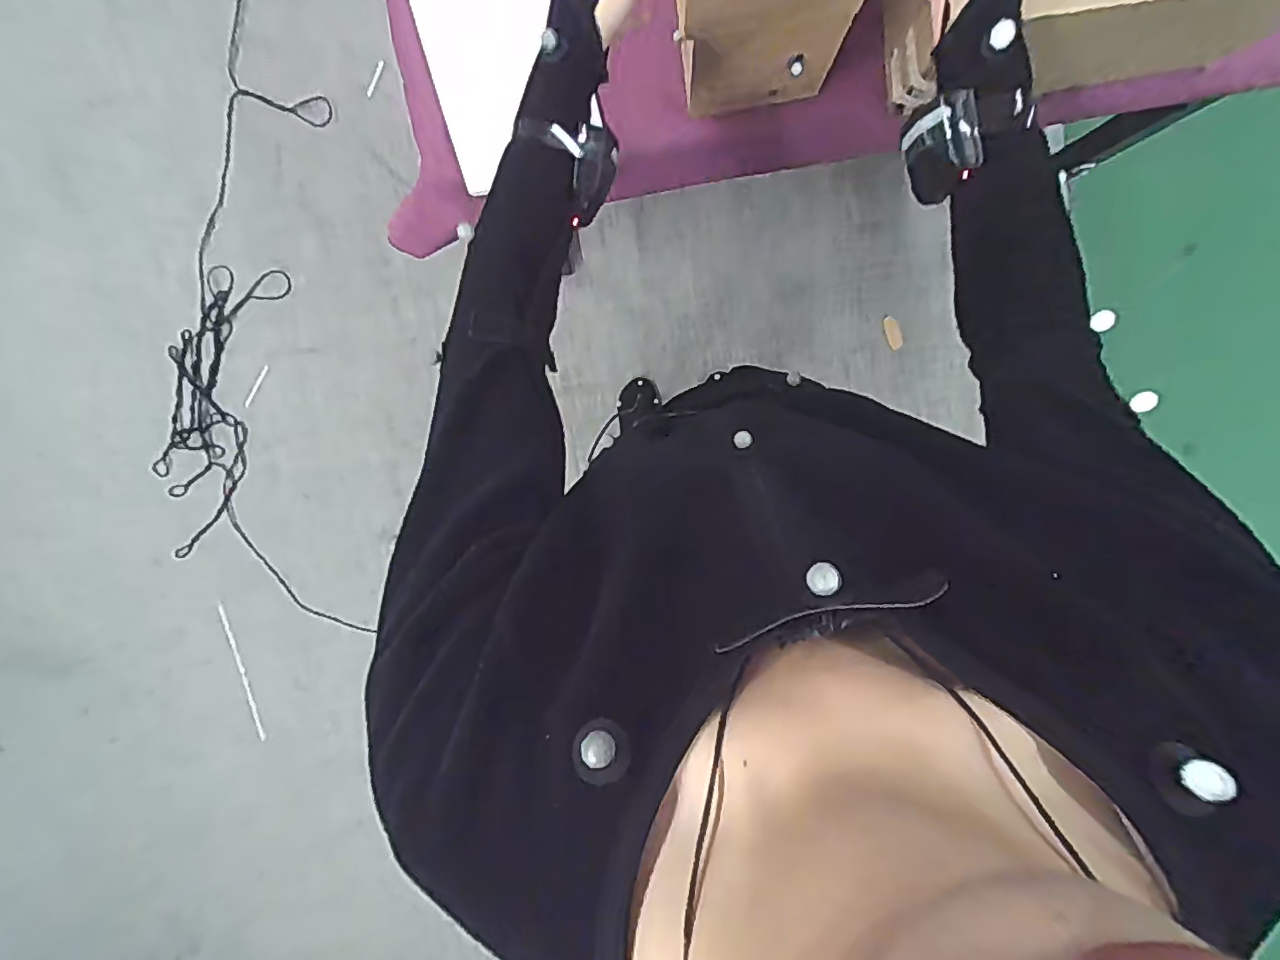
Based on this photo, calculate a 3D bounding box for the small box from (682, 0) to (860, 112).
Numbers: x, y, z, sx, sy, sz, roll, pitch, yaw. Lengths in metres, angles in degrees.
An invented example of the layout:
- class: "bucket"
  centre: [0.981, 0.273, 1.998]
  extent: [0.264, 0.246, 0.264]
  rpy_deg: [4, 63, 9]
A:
- class: "small box"
  centre: [0.133, -0.546, 0.604]
  extent: [0.168, 0.176, 0.179]
  rpy_deg: [-6, 97, 4]

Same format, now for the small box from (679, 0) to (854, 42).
- class: "small box"
  centre: [0.117, -0.511, 0.445]
  extent: [0.179, 0.176, 0.168]
  rpy_deg: [-6, 97, 5]
